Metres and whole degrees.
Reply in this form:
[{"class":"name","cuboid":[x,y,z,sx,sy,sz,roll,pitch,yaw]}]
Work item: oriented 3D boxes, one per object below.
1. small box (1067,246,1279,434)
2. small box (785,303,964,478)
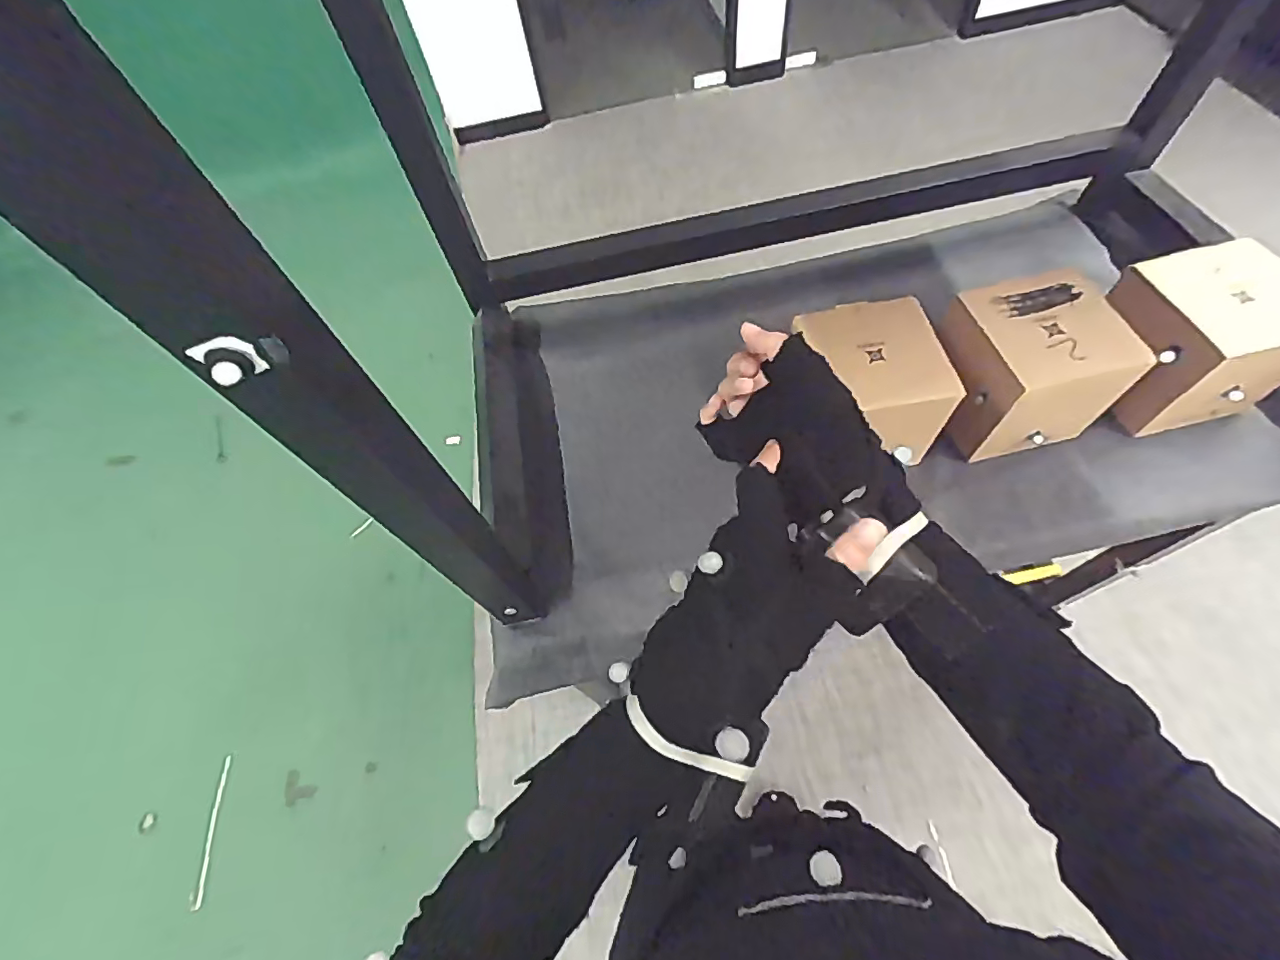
[{"class":"small box","cuboid":[0.756,-0.181,0.744,0.168,0.176,0.179,-13,59,-1]},{"class":"small box","cuboid":[0.313,-0.115,0.766,0.168,0.176,0.179,-9,59,2]}]
